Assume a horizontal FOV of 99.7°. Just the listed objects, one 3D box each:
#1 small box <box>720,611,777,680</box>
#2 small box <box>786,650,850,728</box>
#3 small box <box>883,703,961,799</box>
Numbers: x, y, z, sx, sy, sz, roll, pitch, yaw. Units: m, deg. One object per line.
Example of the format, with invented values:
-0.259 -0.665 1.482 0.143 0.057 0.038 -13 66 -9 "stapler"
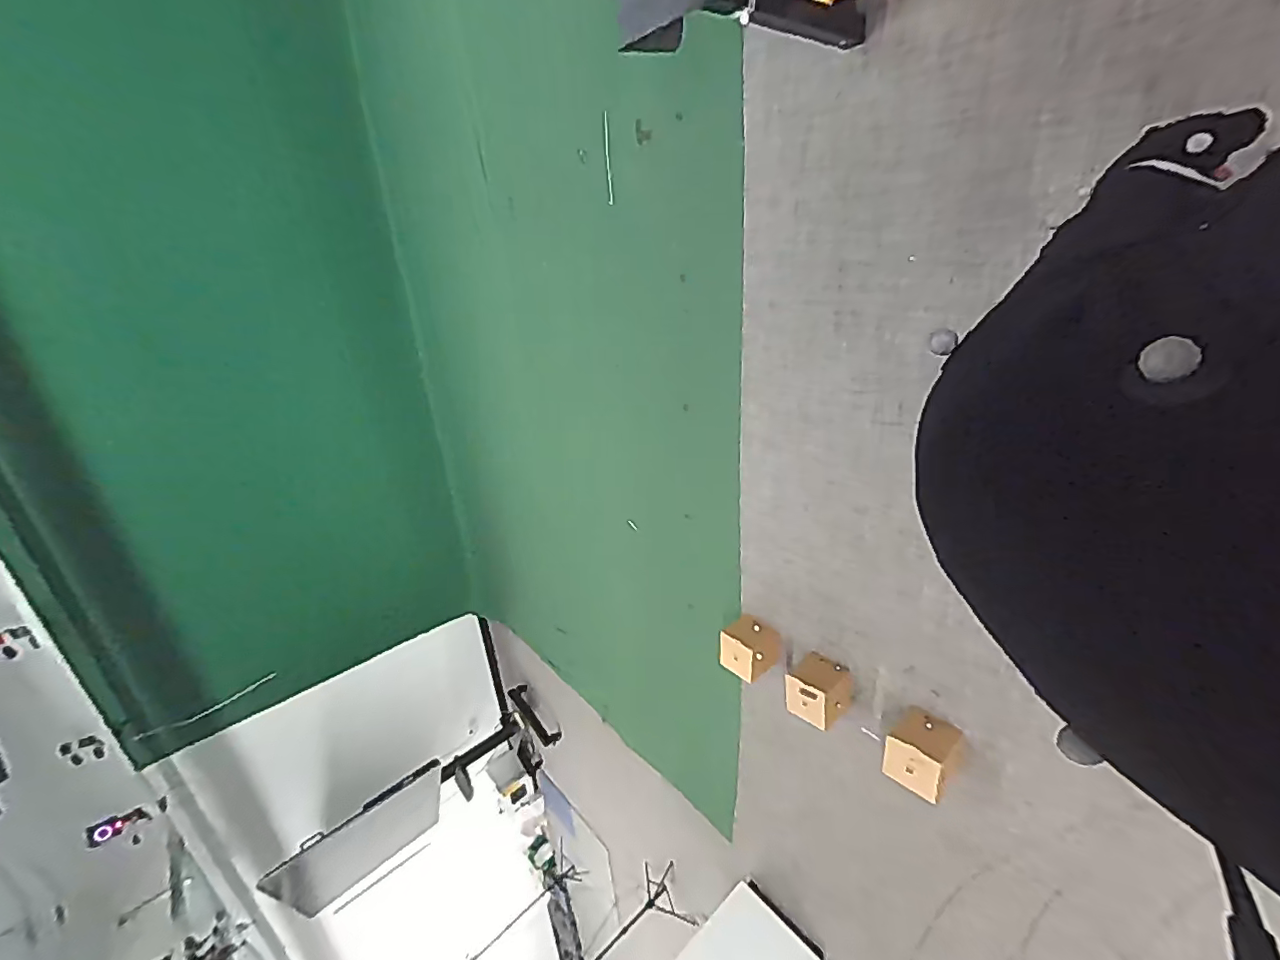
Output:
0.446 0.677 2.226 0.168 0.176 0.179 22 124 44 "small box"
0.658 0.762 1.996 0.168 0.176 0.179 17 121 48 "small box"
0.903 0.859 1.729 0.168 0.176 0.179 19 121 45 "small box"
